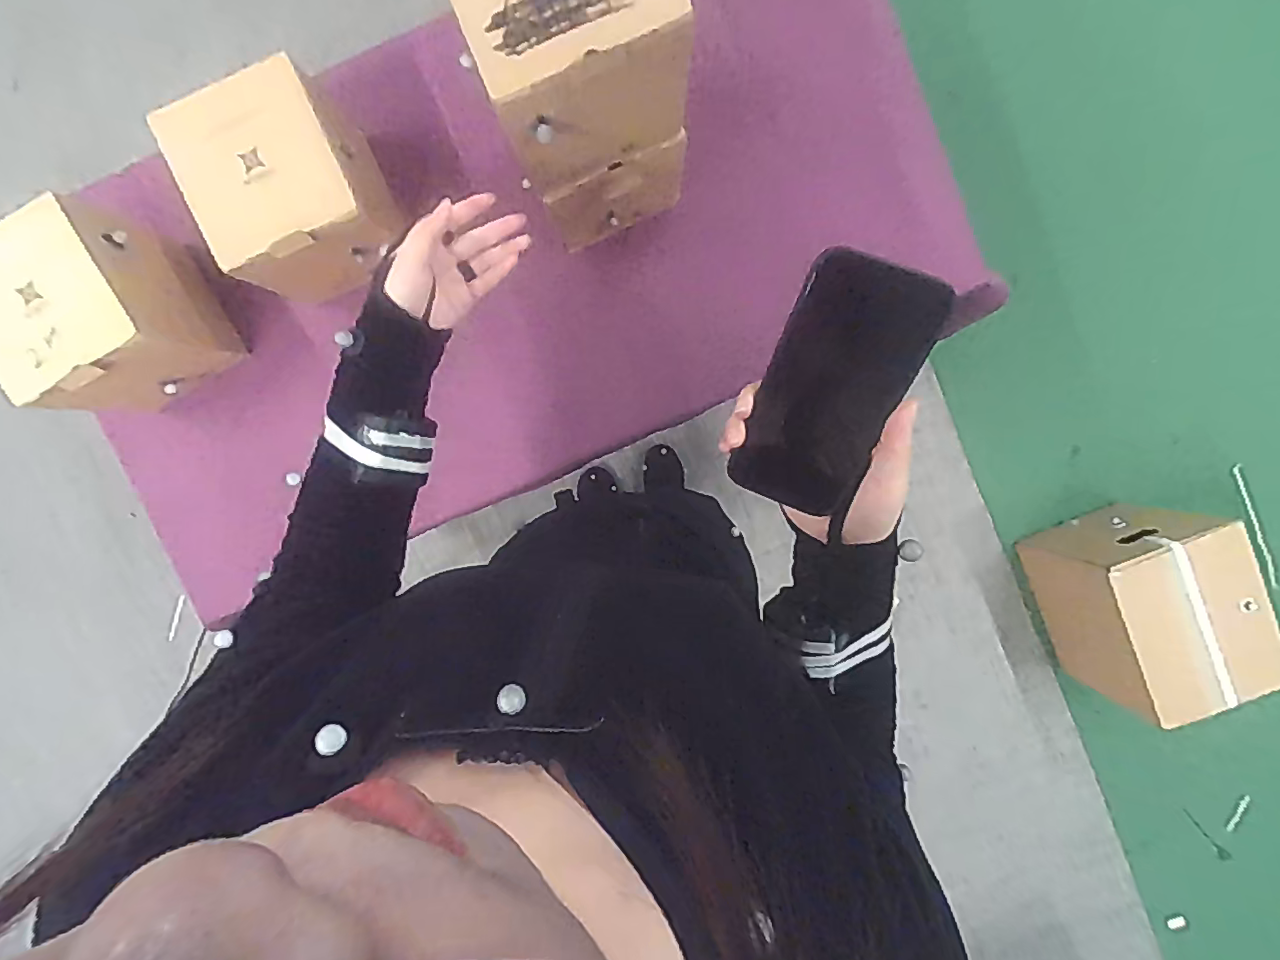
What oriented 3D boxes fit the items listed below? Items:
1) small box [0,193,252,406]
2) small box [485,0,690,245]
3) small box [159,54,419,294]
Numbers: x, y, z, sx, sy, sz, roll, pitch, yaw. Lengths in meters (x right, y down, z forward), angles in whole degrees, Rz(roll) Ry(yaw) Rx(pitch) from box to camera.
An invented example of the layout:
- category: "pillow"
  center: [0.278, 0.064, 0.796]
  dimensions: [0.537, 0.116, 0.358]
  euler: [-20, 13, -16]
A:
- category: "small box"
  center: [-0.644, -0.204, 0.668]
  dimensions: [0.168, 0.176, 0.179]
  euler: [-28, 95, 4]
- category: "small box"
  center: [-0.054, -0.415, 0.639]
  dimensions: [0.168, 0.176, 0.179]
  euler: [-24, 95, 3]
- category: "small box"
  center: [-0.399, -0.343, 0.652]
  dimensions: [0.168, 0.176, 0.179]
  euler: [-23, 95, 2]
